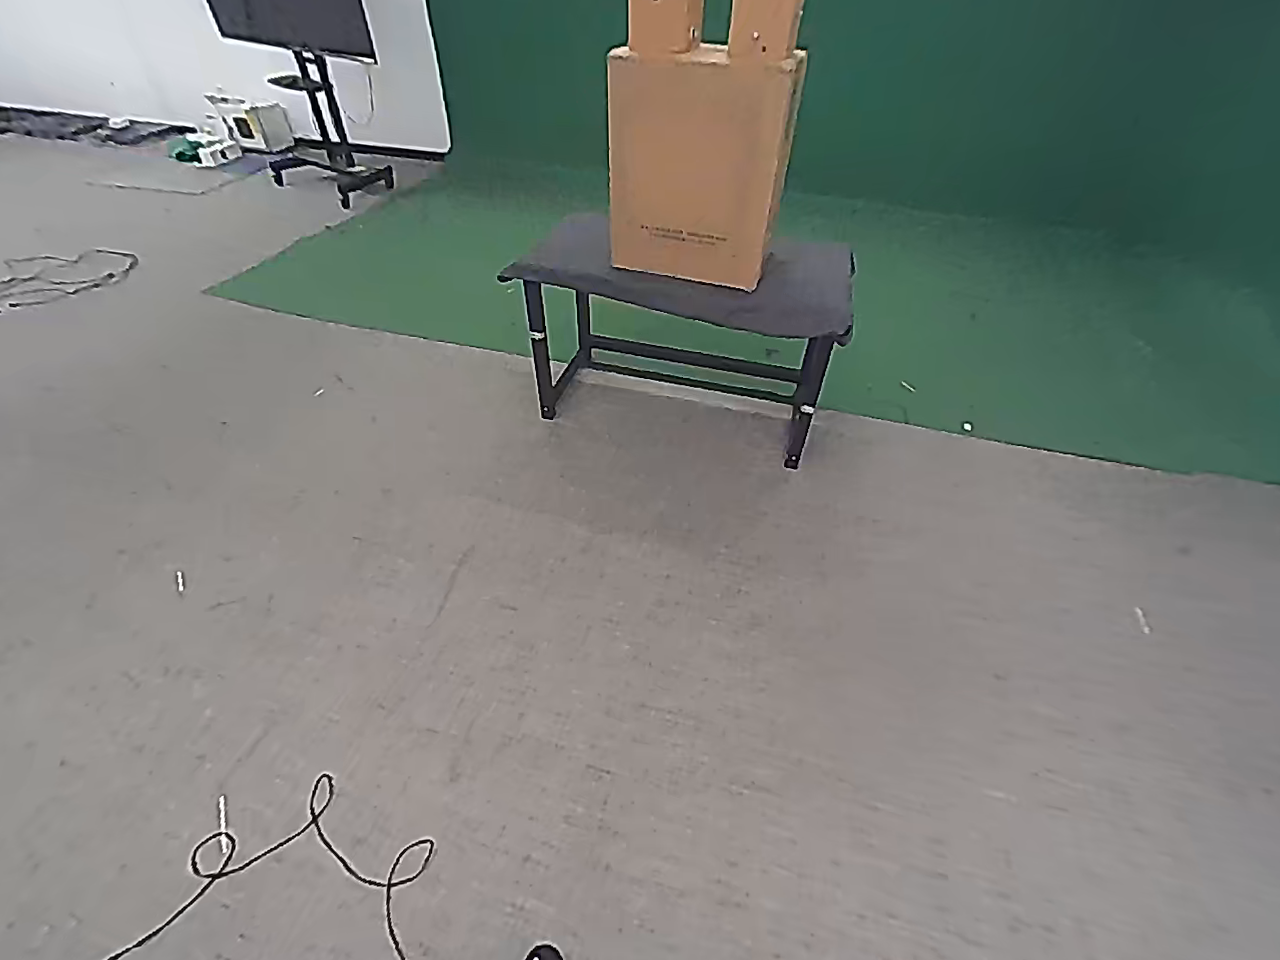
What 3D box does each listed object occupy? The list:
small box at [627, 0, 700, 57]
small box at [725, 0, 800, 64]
[{"bbox_3d":[0.066,-1.348,1.566,0.179,0.176,0.168,16,49,13],"label":"small box"},{"bbox_3d":[0.343,-1.288,1.510,0.168,0.176,0.179,16,49,12],"label":"small box"}]
